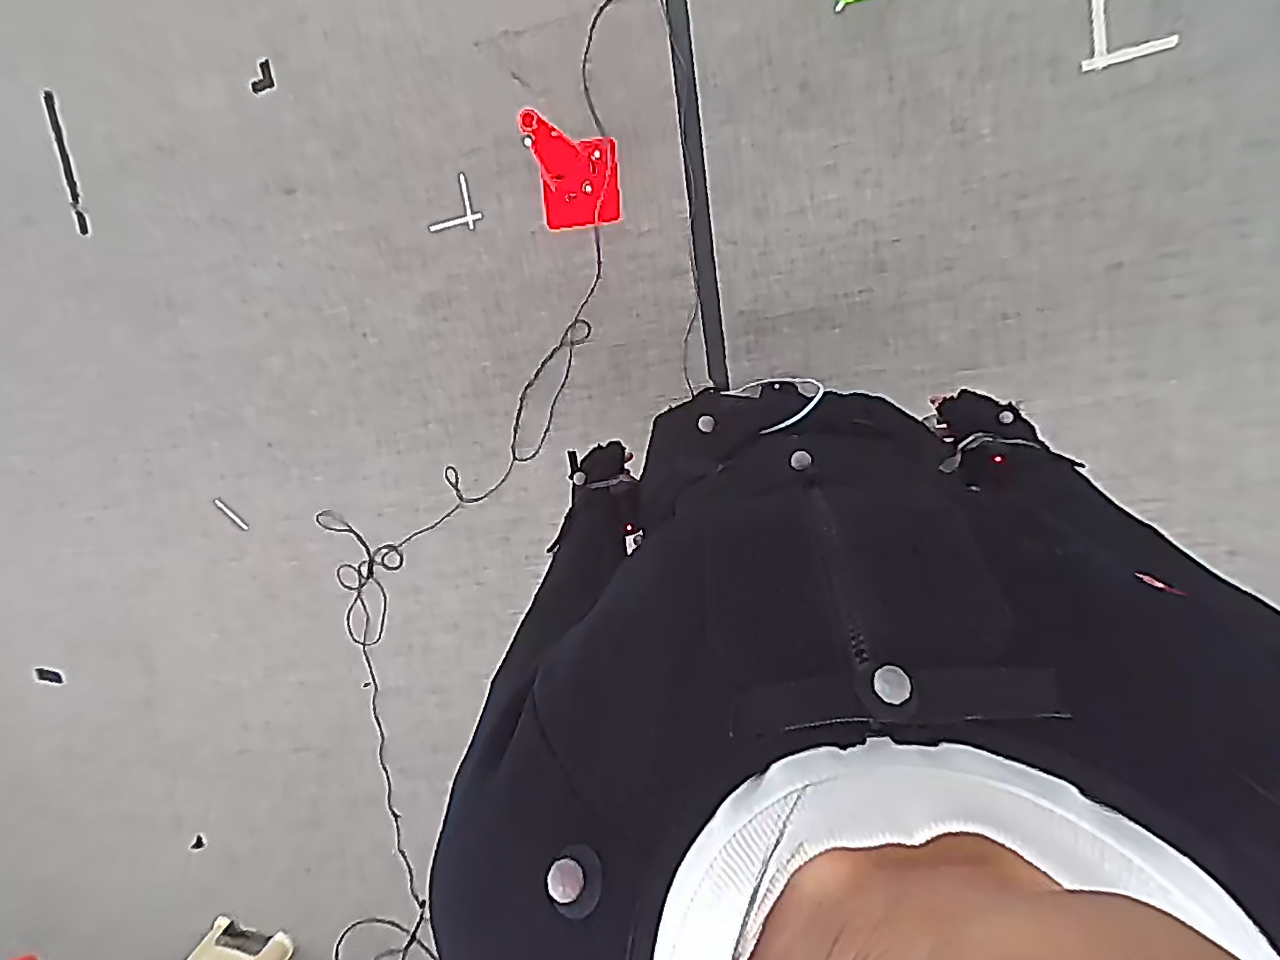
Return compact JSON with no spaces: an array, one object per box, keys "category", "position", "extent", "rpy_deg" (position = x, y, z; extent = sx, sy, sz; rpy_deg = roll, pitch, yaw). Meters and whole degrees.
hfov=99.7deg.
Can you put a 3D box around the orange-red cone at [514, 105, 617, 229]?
[{"category":"orange-red cone","position":[-0.190,-0.715,1.191],"extent":[0.199,0.360,0.198],"rpy_deg":[-2,99,12]}]
